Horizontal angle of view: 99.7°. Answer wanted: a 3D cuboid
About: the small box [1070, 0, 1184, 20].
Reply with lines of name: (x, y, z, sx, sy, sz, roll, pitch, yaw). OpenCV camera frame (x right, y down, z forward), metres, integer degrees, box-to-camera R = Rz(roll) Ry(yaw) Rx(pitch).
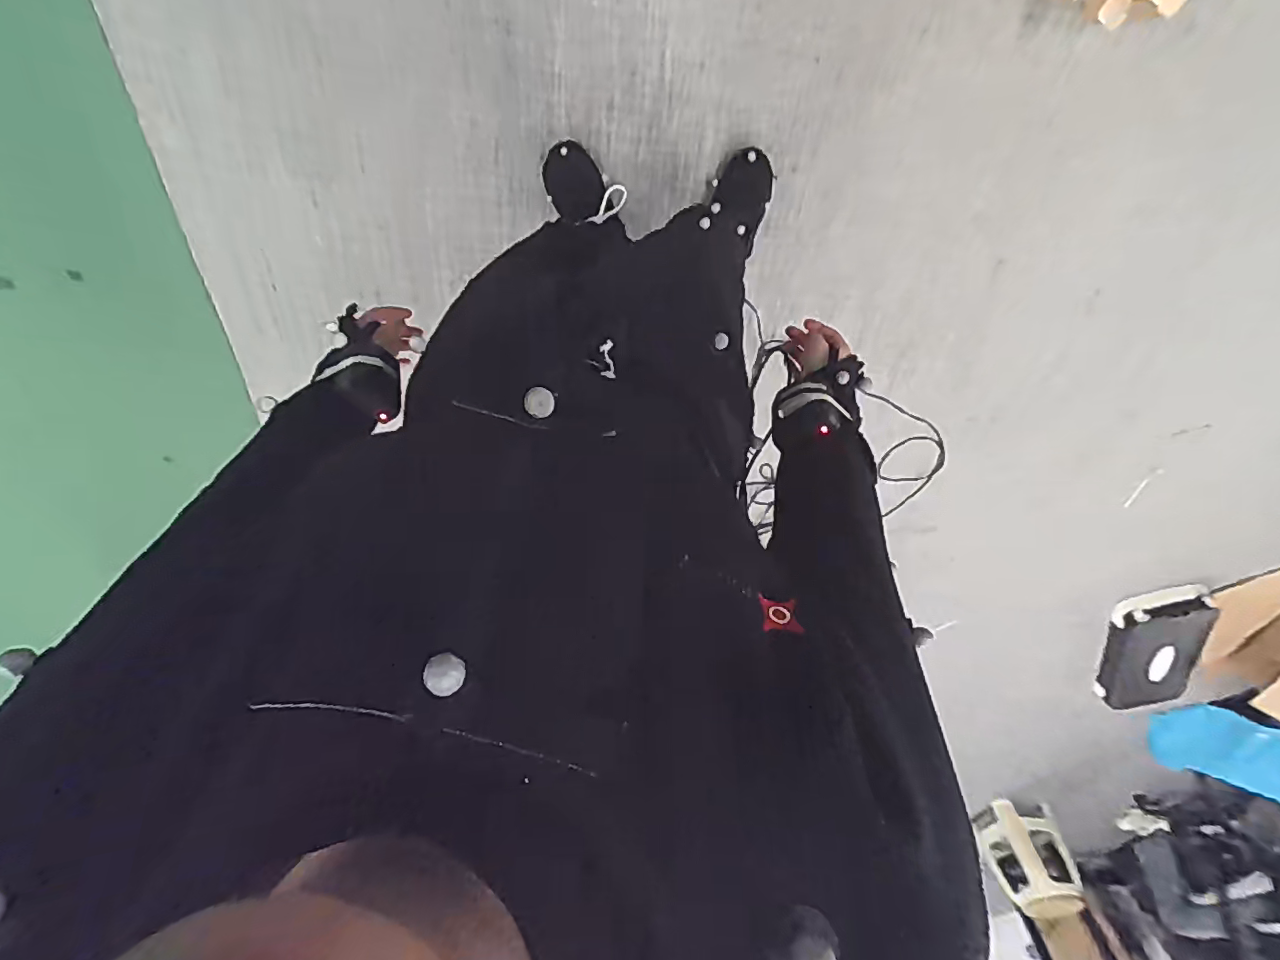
small box: (0.774, -0.848, 0.822, 0.168, 0.176, 0.179, 20, 125, -17)
